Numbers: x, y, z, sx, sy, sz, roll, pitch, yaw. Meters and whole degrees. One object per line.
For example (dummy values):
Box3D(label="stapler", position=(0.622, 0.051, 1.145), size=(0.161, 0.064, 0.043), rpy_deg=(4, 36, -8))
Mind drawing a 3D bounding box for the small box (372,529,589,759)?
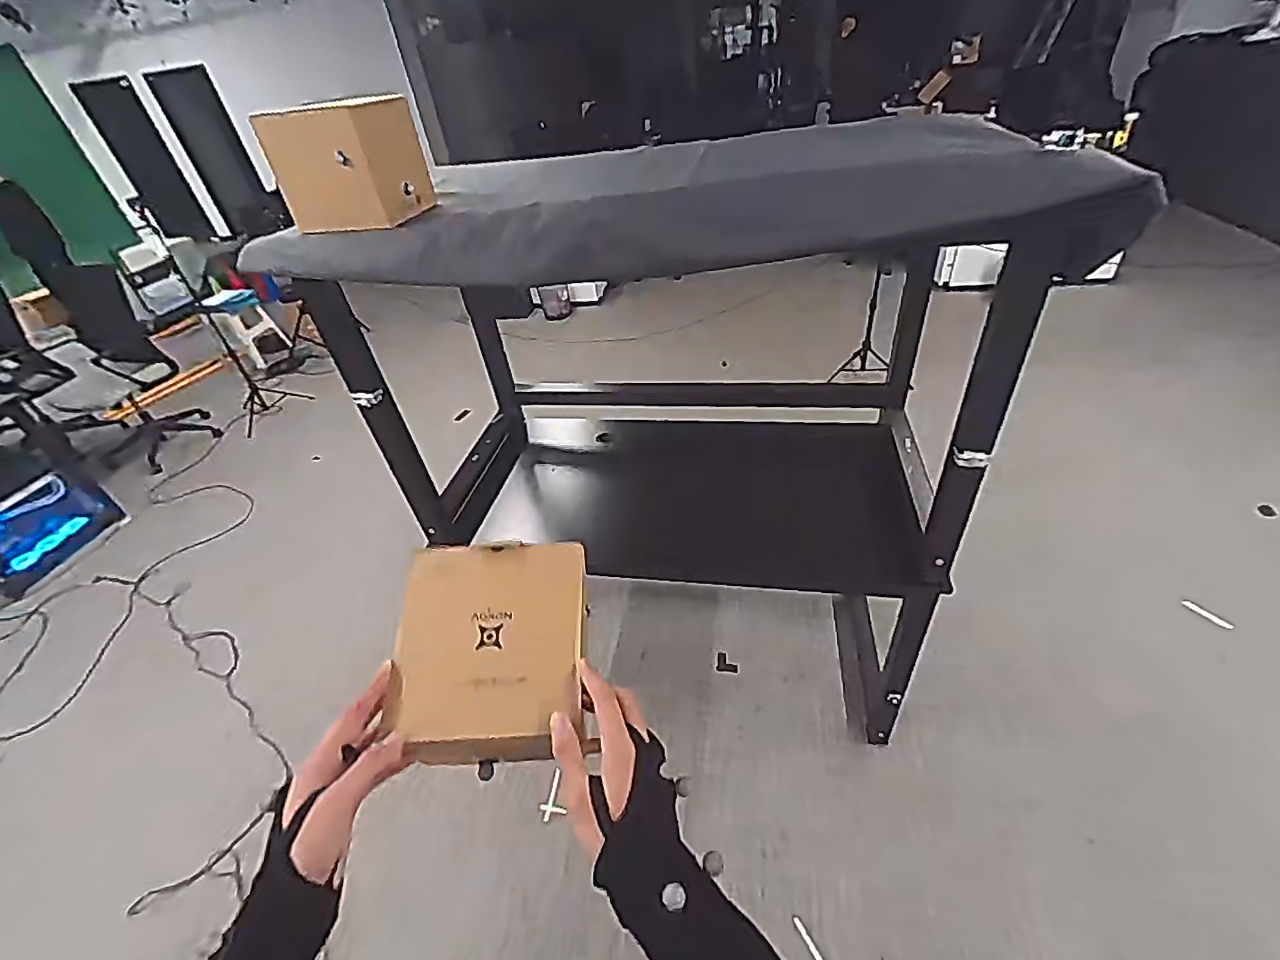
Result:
Box3D(label="small box", position=(-0.138, 0.166, 0.540), size=(0.168, 0.176, 0.179), rpy_deg=(-1, 56, -4))
